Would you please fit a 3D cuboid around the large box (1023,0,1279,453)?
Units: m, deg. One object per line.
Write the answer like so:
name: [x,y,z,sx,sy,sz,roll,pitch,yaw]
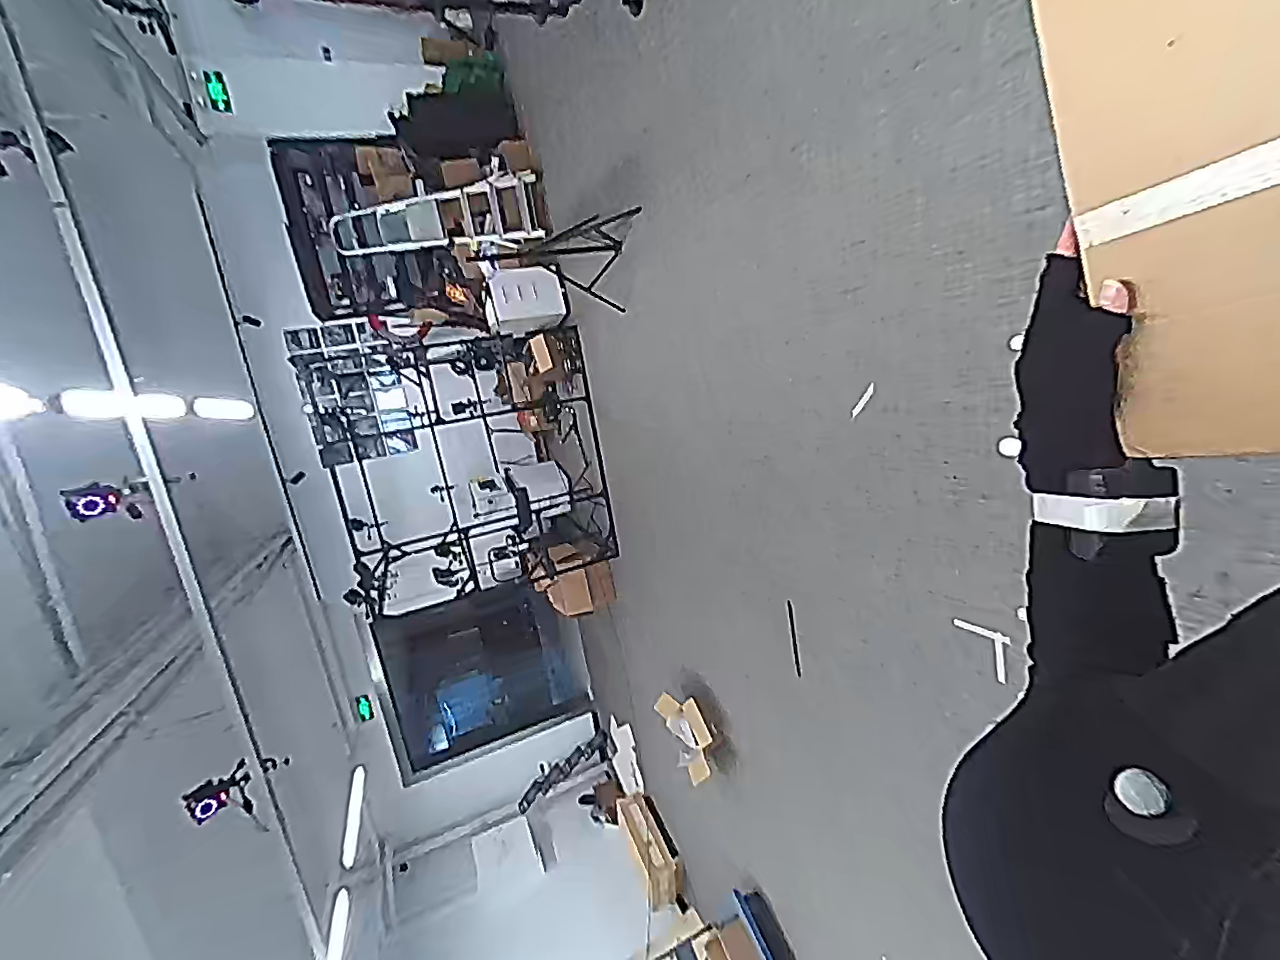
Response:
large box: [0.500,-0.221,0.245,0.408,0.320,0.320,-4,105,63]
